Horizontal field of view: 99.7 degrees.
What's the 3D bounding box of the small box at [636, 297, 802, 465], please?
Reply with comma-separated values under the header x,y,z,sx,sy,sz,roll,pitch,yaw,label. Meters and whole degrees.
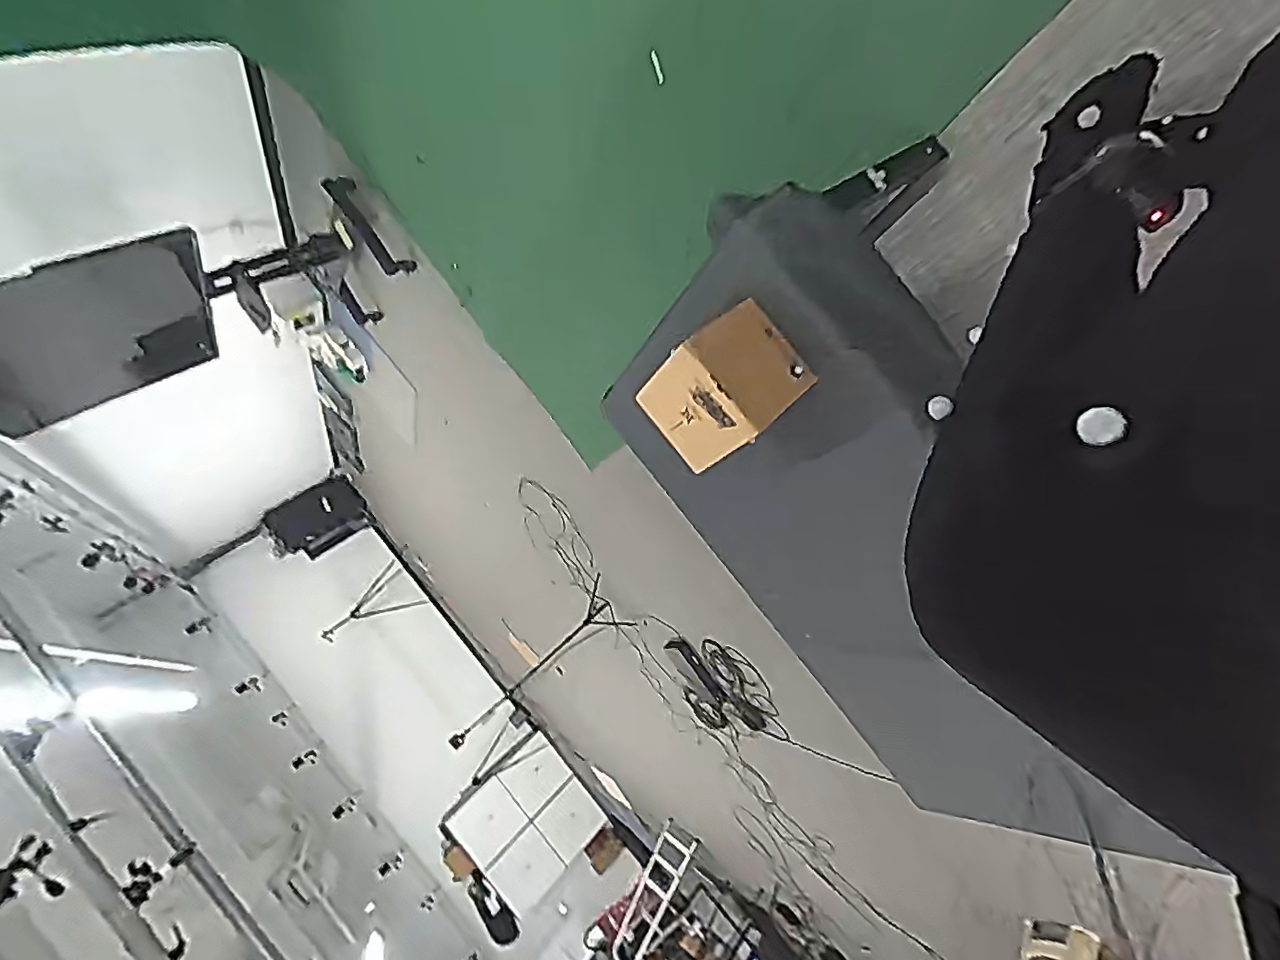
x,y,z,sx,sy,sz,roll,pitch,yaw,label
0.130,-0.157,0.860,0.168,0.176,0.179,51,150,-1,small box
